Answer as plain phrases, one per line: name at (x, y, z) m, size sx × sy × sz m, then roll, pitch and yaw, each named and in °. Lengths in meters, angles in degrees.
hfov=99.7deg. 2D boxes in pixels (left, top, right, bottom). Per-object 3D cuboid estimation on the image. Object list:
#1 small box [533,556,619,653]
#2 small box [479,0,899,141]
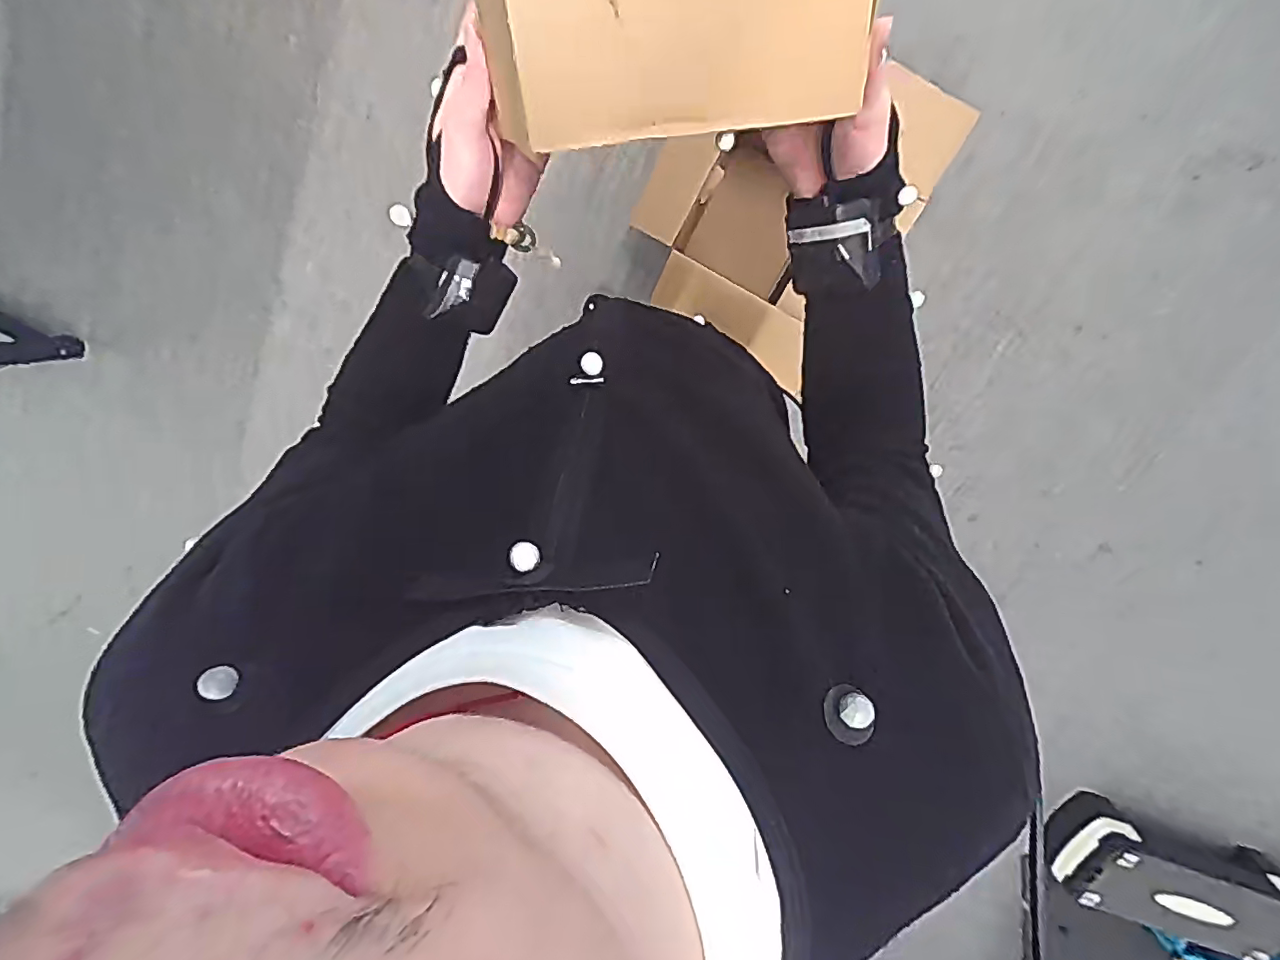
small box at (-0.167, 0.331, 1.471) m, size 0.179 × 0.176 × 0.168 m, roll 21°, pitch 110°, yaw -2°
small box at (0.009, -0.276, 0.263) m, size 0.179 × 0.176 × 0.168 m, roll -13°, pitch 127°, yaw -10°
